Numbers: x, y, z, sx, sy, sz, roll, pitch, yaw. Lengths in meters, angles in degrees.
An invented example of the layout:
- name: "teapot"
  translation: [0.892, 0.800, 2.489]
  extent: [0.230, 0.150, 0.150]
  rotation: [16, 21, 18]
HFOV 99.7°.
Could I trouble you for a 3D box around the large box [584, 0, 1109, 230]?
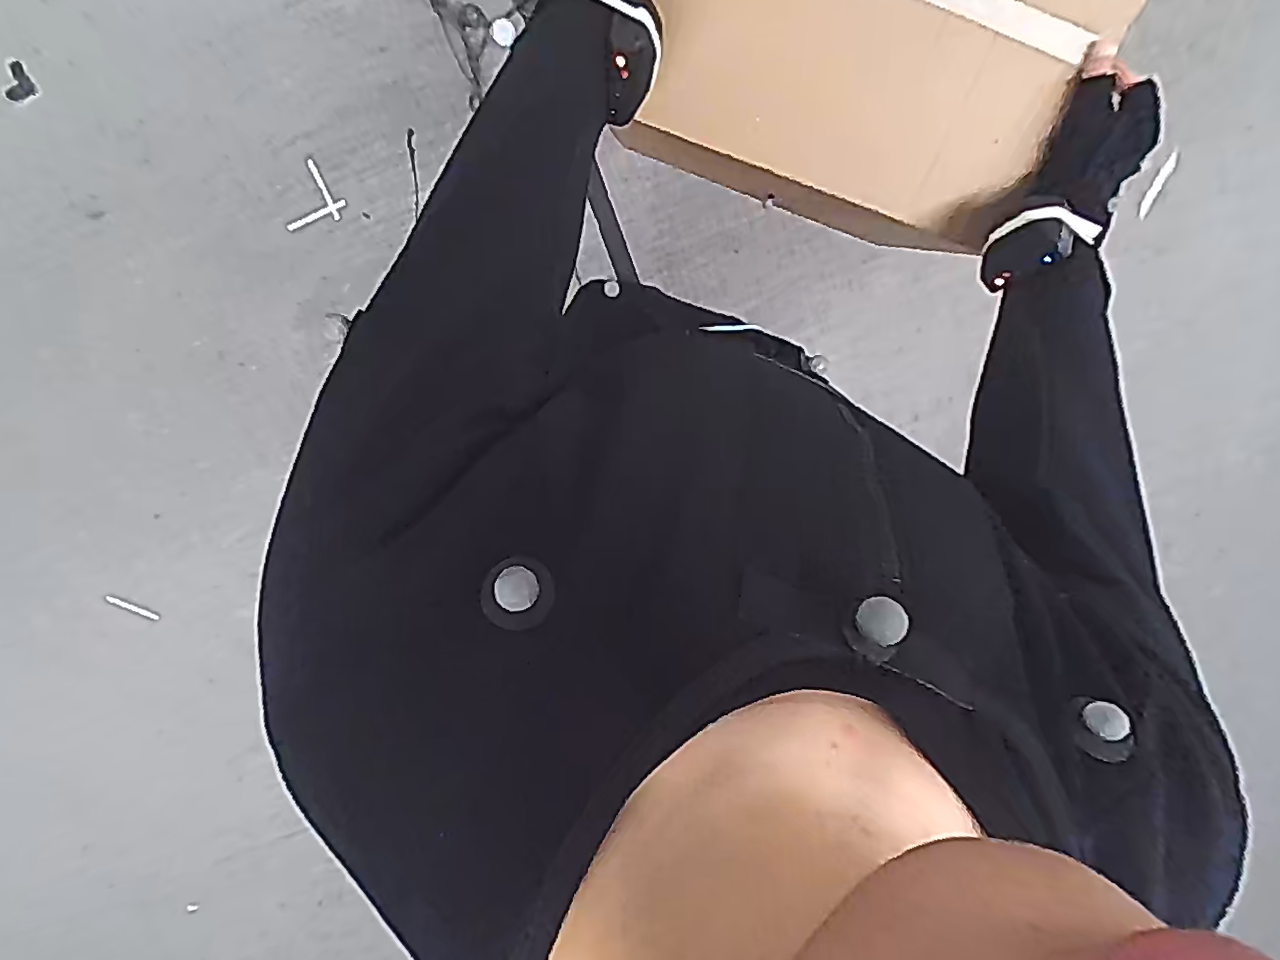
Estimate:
- name: "large box"
  translation: [0.192, -0.486, 0.569]
  extent: [0.408, 0.320, 0.320]
  rotation: [18, 114, -5]
